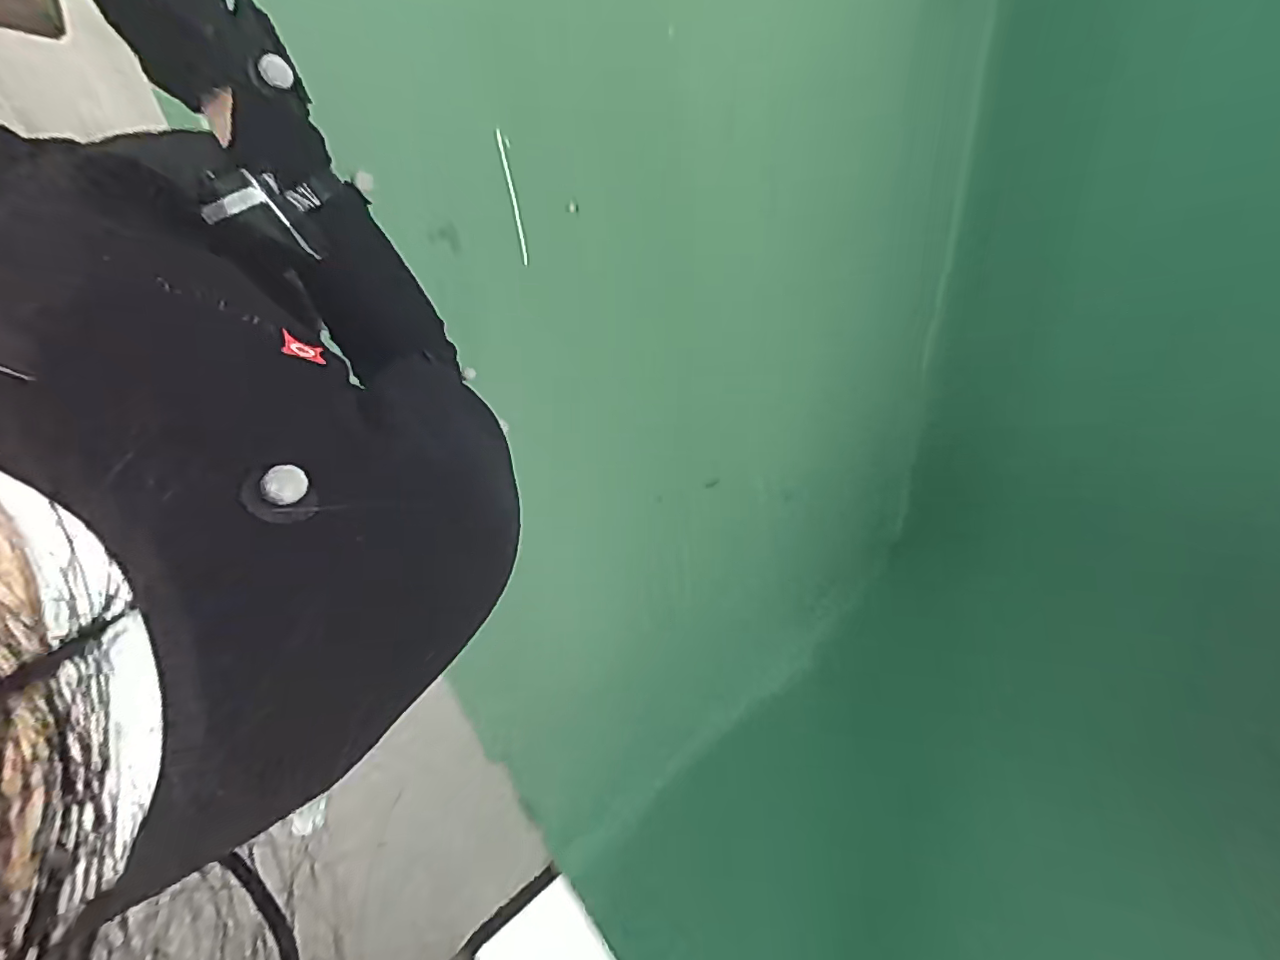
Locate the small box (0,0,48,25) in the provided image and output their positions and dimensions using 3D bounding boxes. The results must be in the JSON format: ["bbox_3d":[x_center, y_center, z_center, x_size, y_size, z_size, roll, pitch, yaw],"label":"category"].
[{"bbox_3d":[-0.378,-0.303,0.199,0.179,0.176,0.168,-16,122,-37],"label":"small box"}]
